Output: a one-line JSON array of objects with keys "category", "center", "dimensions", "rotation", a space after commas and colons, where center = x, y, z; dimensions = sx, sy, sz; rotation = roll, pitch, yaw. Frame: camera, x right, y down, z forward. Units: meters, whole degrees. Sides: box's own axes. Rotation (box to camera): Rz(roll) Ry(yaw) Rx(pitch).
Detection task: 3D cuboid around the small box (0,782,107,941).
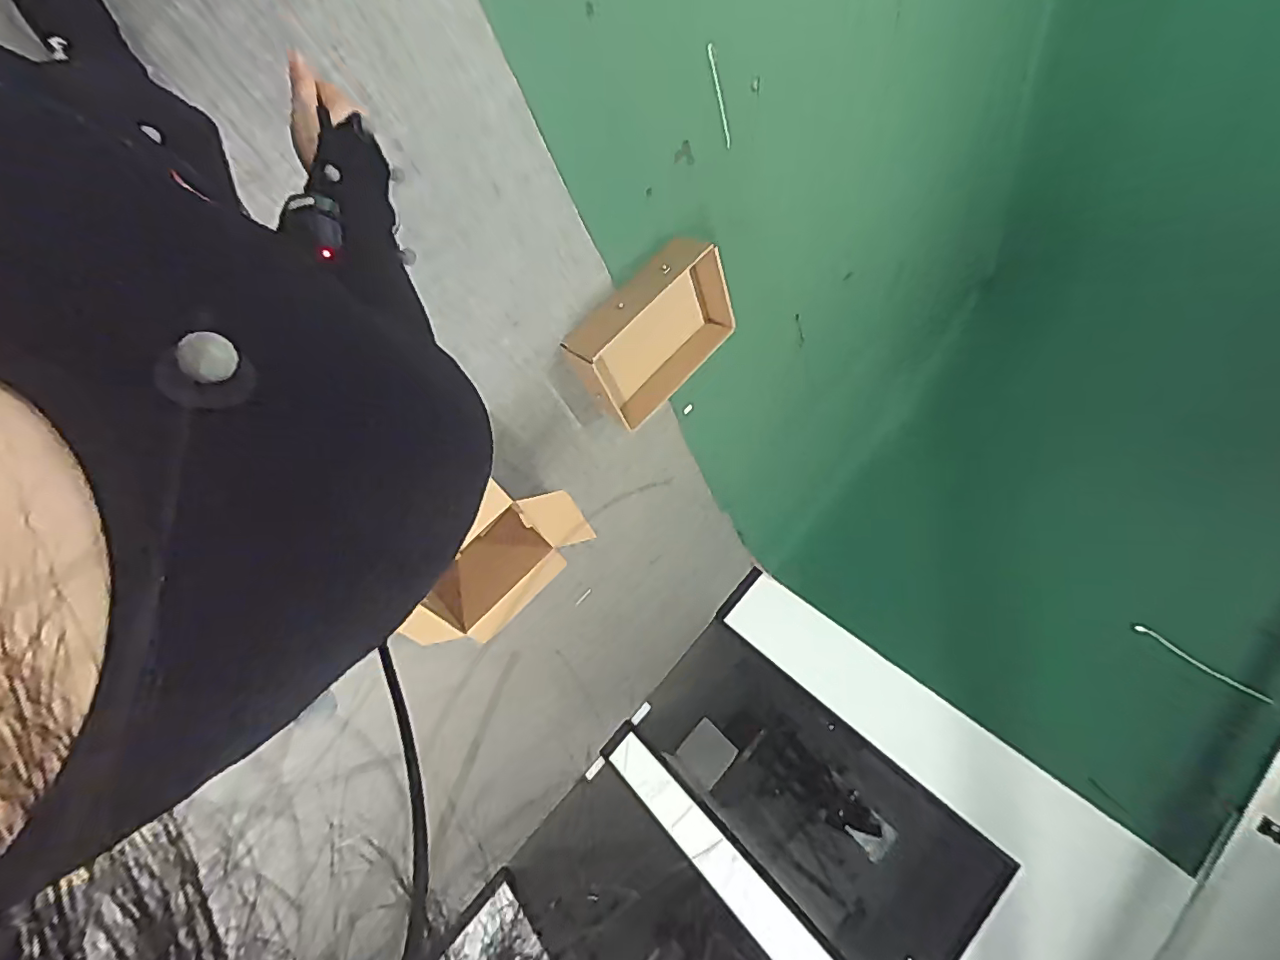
[{"category": "small box", "center": [-1.223, 0.743, 1.065], "dimensions": [0.179, 0.176, 0.168], "rotation": [-35, 139, -29]}]
